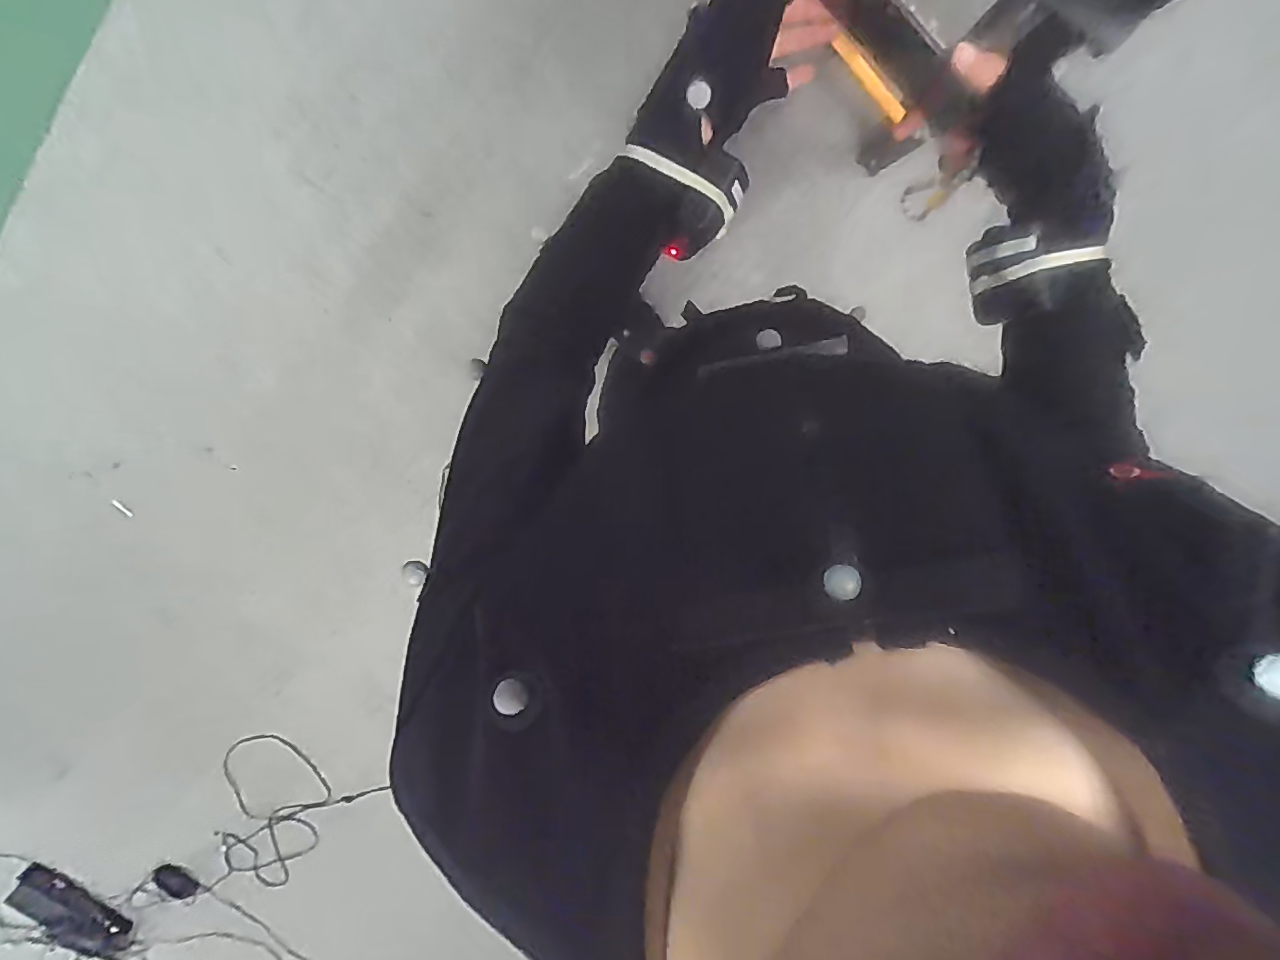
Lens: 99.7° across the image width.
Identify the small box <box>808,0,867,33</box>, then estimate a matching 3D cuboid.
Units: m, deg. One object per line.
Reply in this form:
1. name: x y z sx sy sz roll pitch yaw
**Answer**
1. small box: 0.377 -0.956 0.954 0.179 0.176 0.168 -40 102 16
